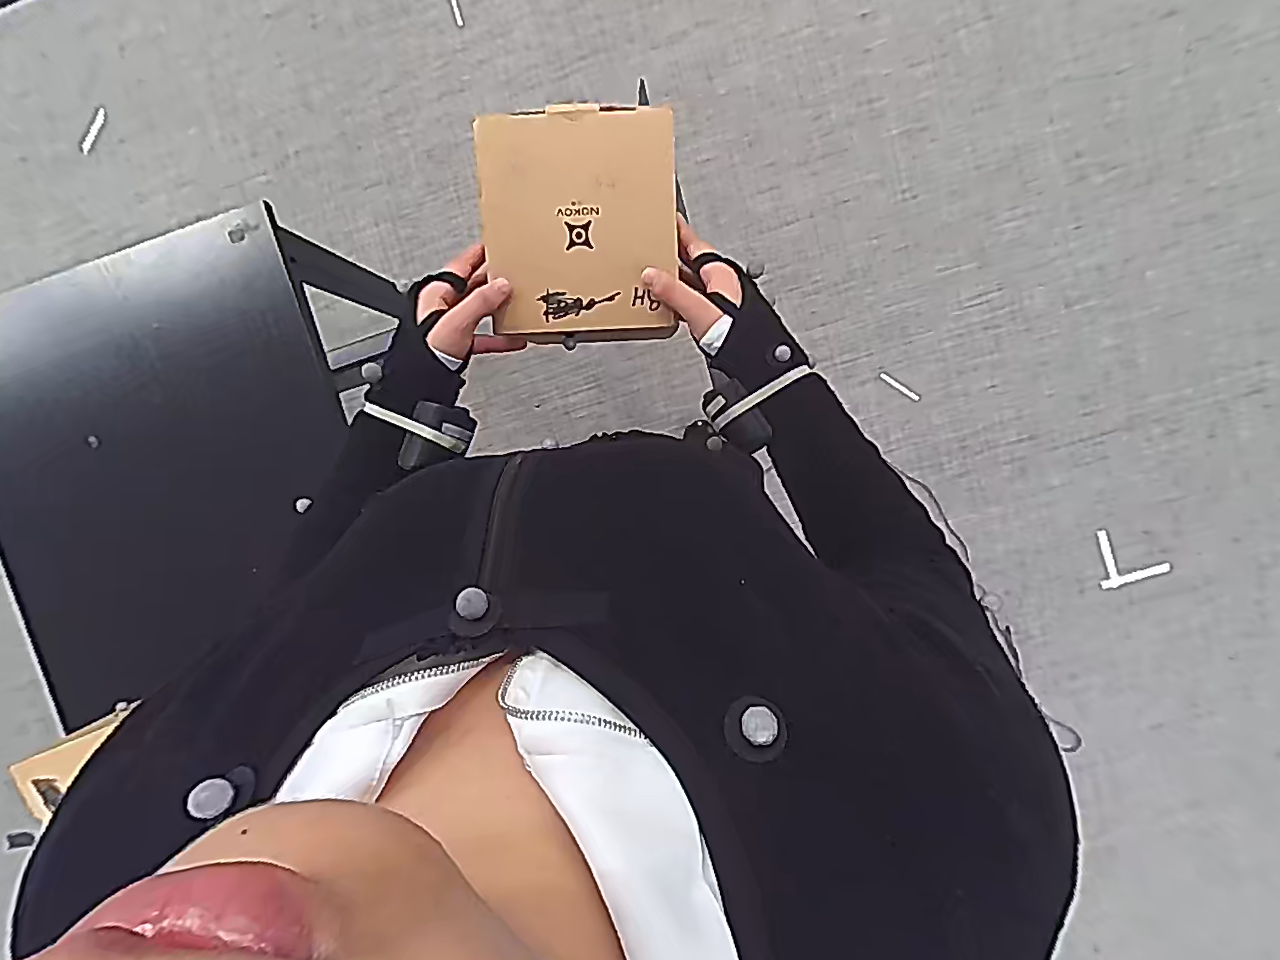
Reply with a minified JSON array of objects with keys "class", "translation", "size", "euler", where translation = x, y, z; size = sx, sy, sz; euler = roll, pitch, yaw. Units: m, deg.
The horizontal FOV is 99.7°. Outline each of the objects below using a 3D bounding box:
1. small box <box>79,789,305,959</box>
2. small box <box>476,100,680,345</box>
[{"class":"small box","translation":[-0.619,0.577,0.776],"size":[0.179,0.176,0.168],"euler":[-13,92,6]},{"class":"small box","translation":[-0.049,-0.233,0.533],"size":[0.168,0.176,0.179],"euler":[-3,100,2]}]
